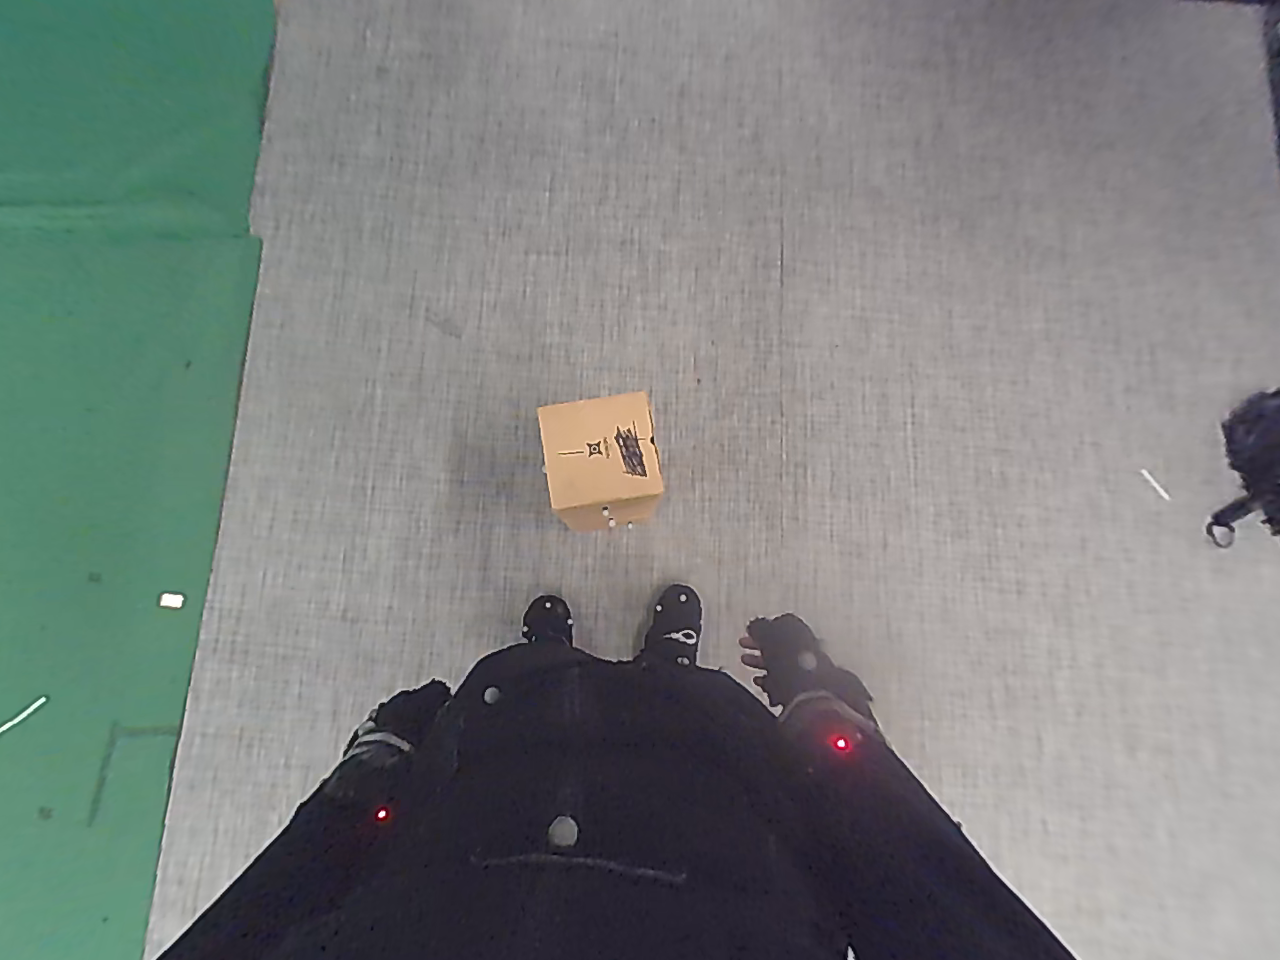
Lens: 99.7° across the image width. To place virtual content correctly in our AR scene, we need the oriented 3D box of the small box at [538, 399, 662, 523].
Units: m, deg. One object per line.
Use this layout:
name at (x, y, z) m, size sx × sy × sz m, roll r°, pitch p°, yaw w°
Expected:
small box at (-0.066, -0.025, 0.916) m, size 0.179 × 0.176 × 0.168 m, roll -9°, pitch 80°, yaw -3°

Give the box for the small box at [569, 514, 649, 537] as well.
small box at (-0.081, 0.034, 1.239) m, size 0.179 × 0.176 × 0.168 m, roll -10°, pitch 80°, yaw -3°

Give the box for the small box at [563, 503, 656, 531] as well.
small box at (-0.074, 0.004, 1.081) m, size 0.179 × 0.176 × 0.168 m, roll -12°, pitch 82°, yaw -3°
